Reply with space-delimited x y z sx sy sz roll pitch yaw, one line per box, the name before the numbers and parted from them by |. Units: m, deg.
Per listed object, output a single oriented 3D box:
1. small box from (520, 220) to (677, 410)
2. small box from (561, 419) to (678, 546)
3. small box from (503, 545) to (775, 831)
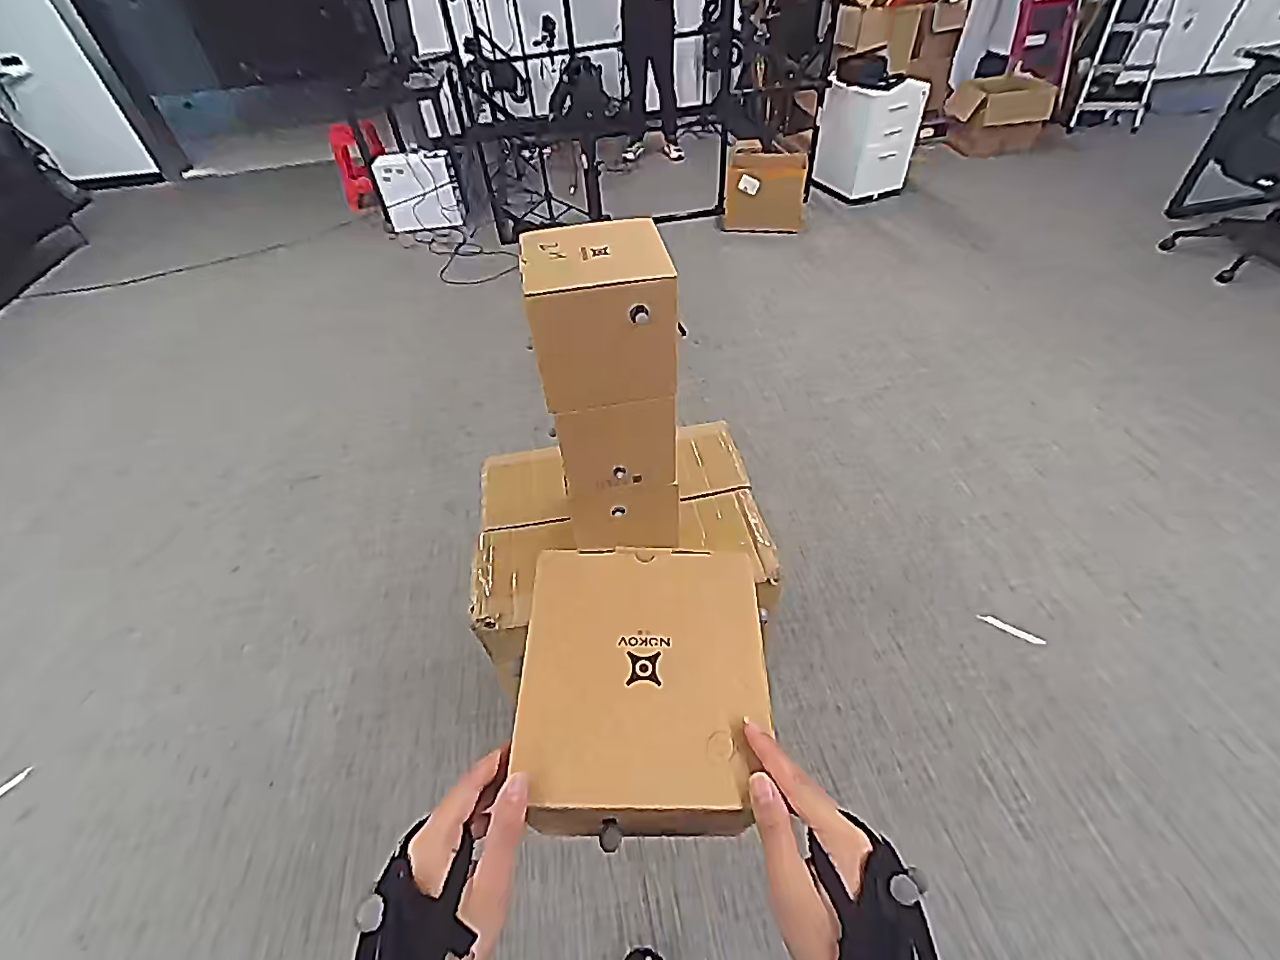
small box | -0.052 -0.213 0.705 0.179 0.176 0.168 -9 47 -4
small box | -0.034 0.019 0.939 0.179 0.176 0.168 -9 47 -4
small box | 0.002 0.169 0.431 0.168 0.176 0.179 0 50 0
